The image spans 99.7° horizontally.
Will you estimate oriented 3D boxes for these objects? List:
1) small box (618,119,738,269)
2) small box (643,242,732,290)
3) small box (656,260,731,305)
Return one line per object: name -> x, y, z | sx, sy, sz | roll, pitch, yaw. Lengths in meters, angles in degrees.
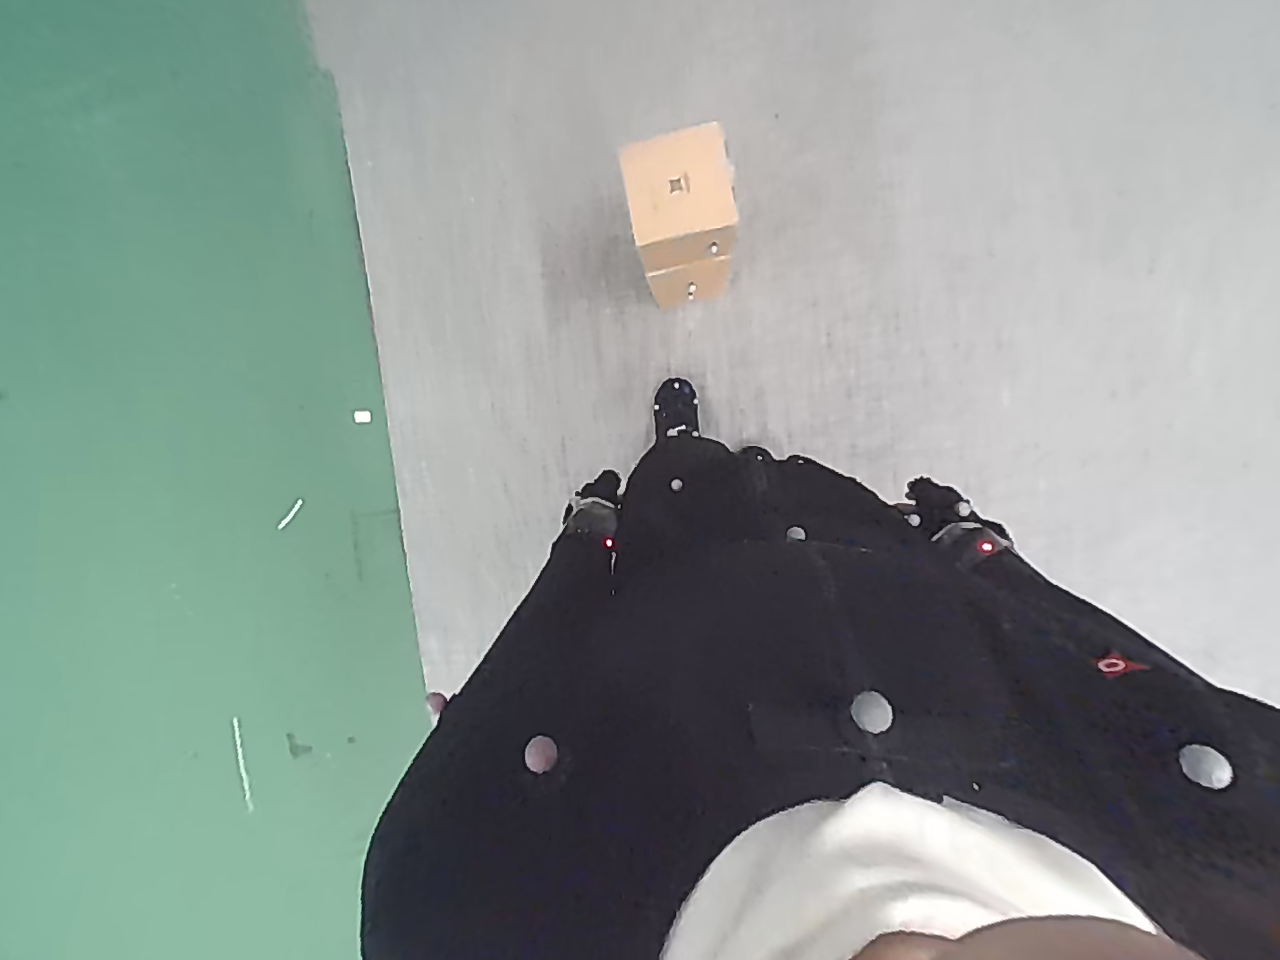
small box -> 0.071, -0.498, 0.968 | 0.179, 0.176, 0.168 | -11, 94, 9
small box -> 0.089, -0.511, 1.129 | 0.179, 0.176, 0.168 | -10, 95, 8
small box -> 0.109, -0.534, 1.289 | 0.179, 0.176, 0.168 | -15, 95, 8
